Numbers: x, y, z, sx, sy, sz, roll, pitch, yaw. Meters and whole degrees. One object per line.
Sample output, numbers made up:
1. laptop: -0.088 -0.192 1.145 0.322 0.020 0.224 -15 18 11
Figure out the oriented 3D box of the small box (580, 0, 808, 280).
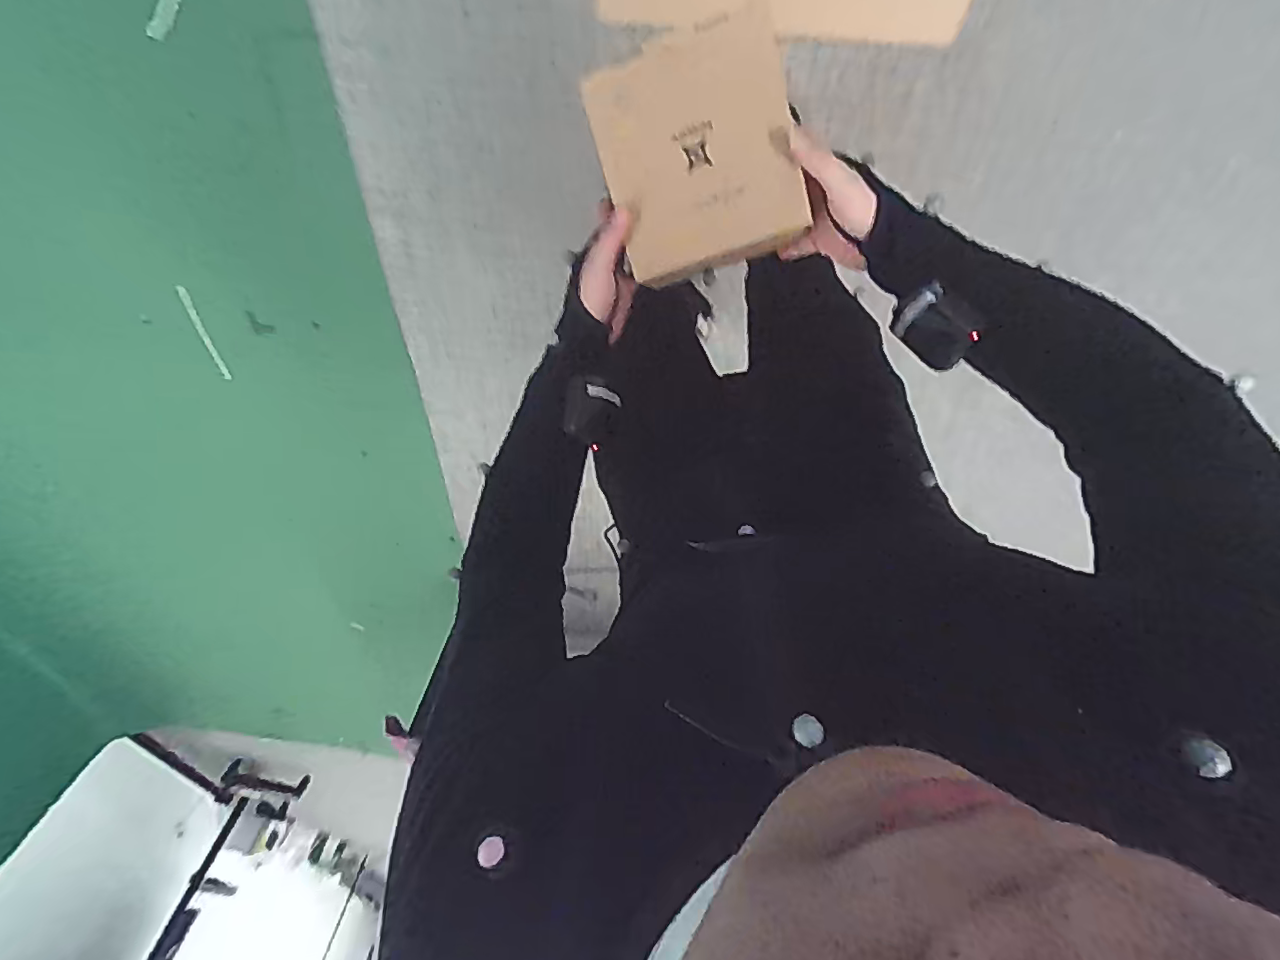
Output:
1. small box: 0.059 -0.313 0.538 0.168 0.176 0.179 -13 104 14
